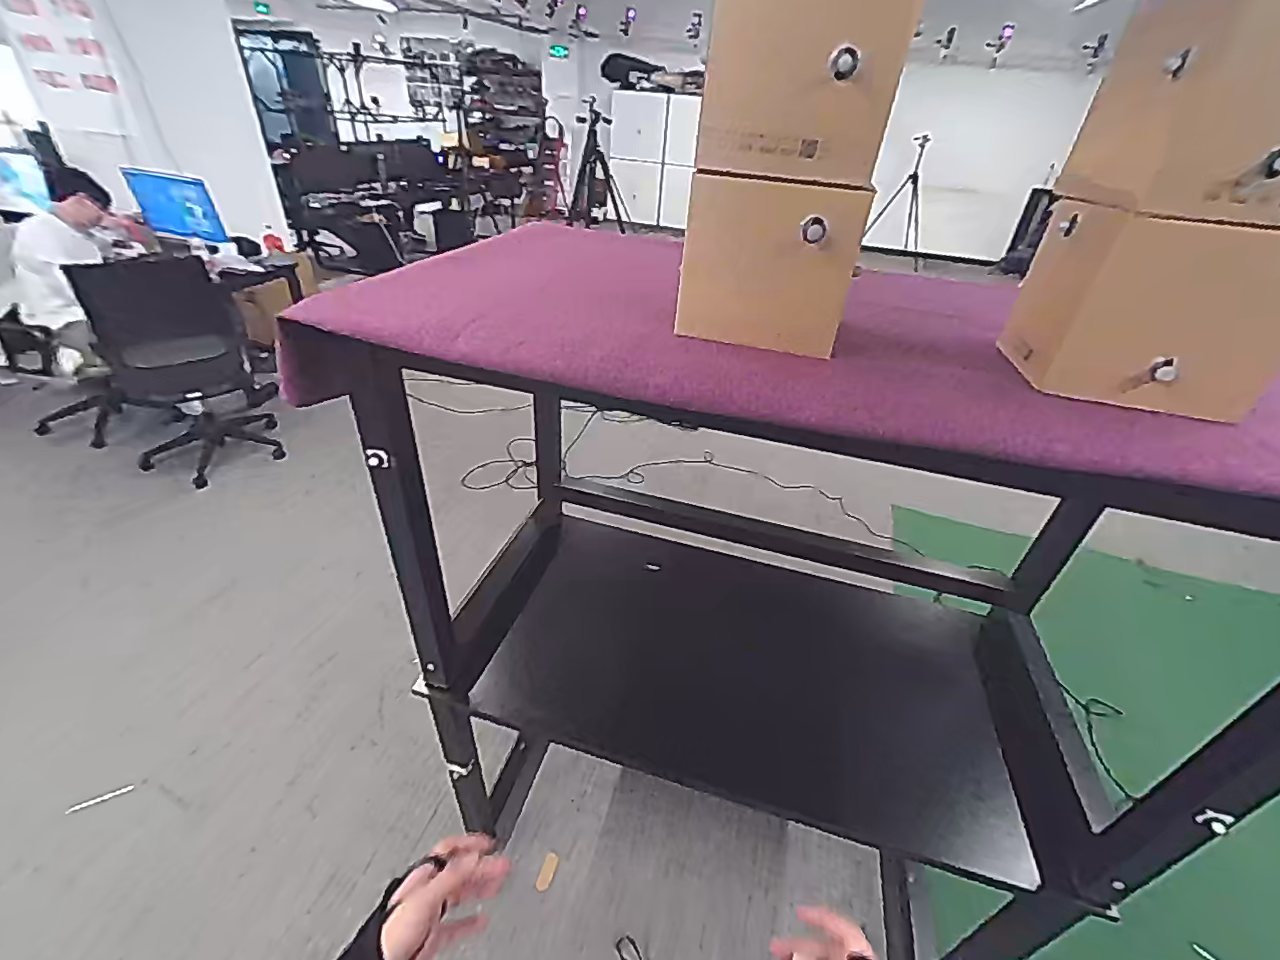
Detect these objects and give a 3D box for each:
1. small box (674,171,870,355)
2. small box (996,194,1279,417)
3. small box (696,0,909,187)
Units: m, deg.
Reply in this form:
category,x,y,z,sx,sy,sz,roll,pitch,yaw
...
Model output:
category,x,y,z,sx,sy,sz,roll,pitch,yaw
small box,0.147,-0.255,0.621,0.179,0.176,0.168,12,34,12
small box,0.505,-0.178,0.545,0.179,0.176,0.168,12,33,11
small box,0.156,-0.392,0.533,0.168,0.176,0.179,14,35,12
